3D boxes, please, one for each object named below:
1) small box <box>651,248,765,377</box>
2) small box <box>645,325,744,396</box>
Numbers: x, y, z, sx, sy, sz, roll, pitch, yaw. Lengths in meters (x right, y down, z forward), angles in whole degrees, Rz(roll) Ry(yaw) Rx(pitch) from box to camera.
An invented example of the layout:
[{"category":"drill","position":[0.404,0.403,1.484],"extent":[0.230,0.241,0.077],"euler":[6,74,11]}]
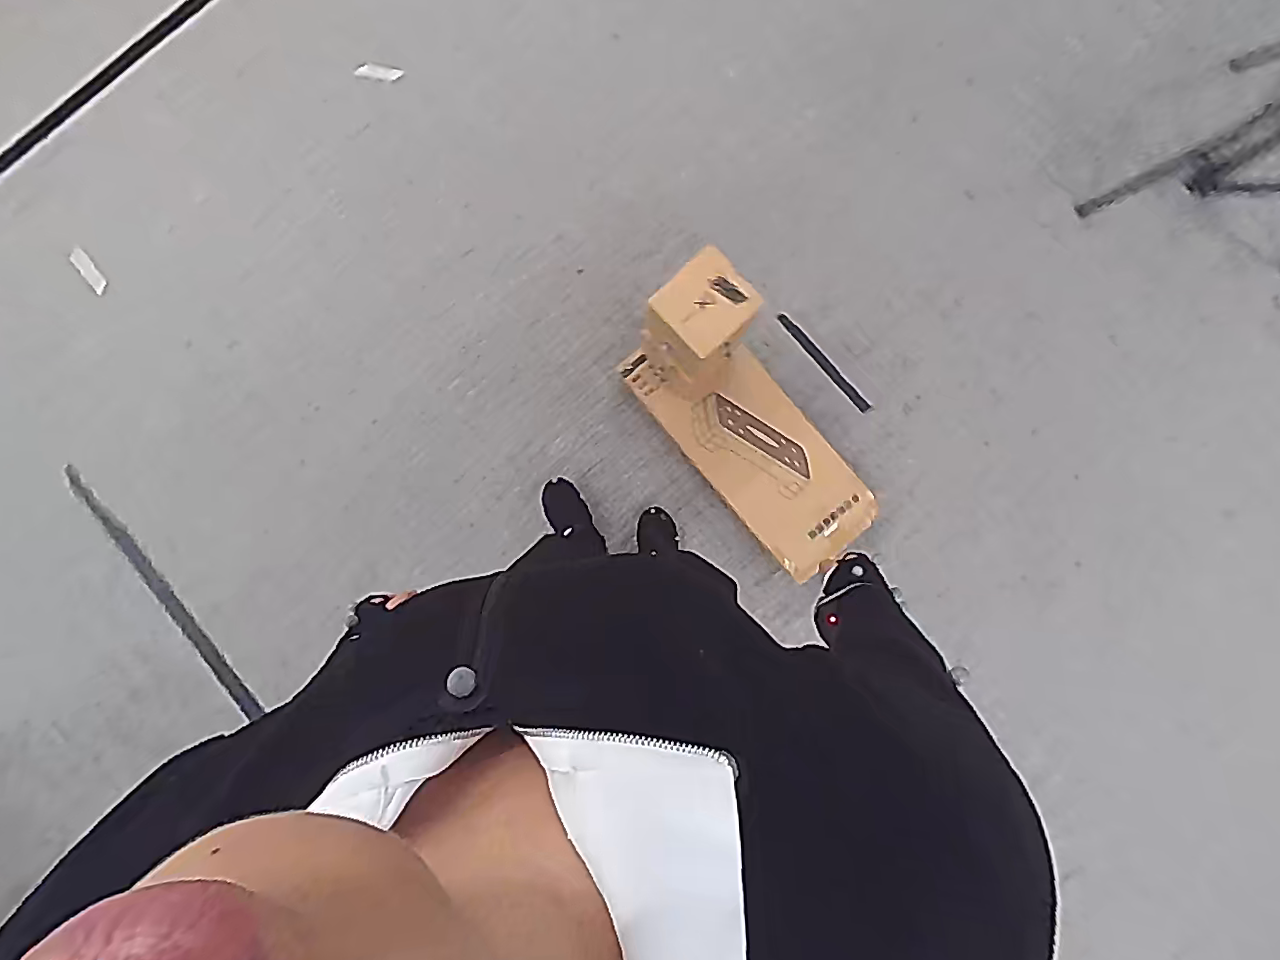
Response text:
[{"category":"small box","position":[0.135,-0.350,1.162],"extent":[0.179,0.176,0.168],"euler":[-42,88,-1]},{"category":"small box","position":[0.125,-0.331,1.325],"extent":[0.179,0.176,0.168],"euler":[-40,88,-1]}]
